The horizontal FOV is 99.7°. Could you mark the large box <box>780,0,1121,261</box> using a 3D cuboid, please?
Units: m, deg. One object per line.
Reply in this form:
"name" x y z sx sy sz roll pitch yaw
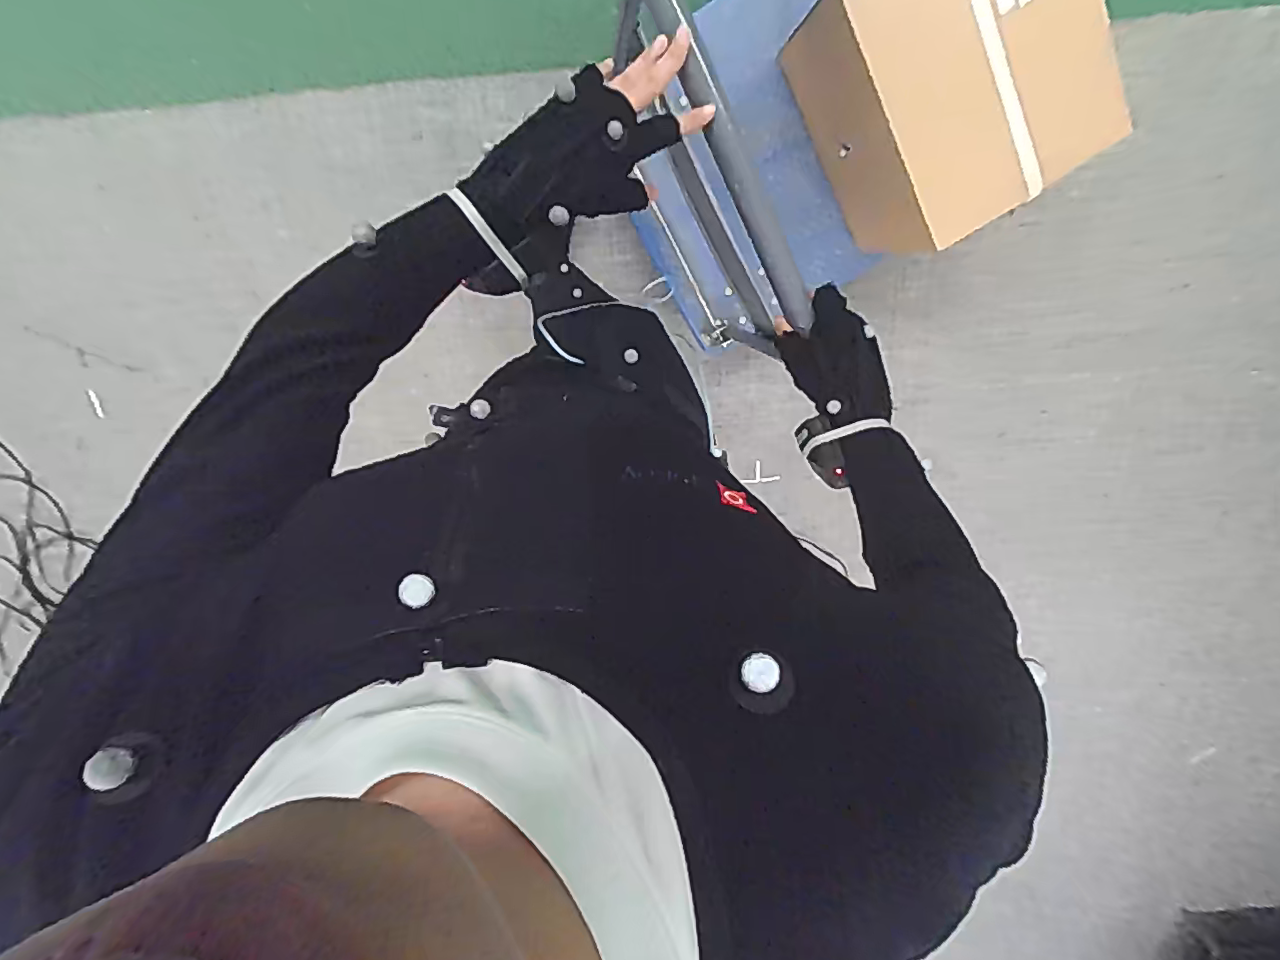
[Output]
"large box" 0.490 -0.637 0.916 0.320 0.320 0.408 -30 109 10
